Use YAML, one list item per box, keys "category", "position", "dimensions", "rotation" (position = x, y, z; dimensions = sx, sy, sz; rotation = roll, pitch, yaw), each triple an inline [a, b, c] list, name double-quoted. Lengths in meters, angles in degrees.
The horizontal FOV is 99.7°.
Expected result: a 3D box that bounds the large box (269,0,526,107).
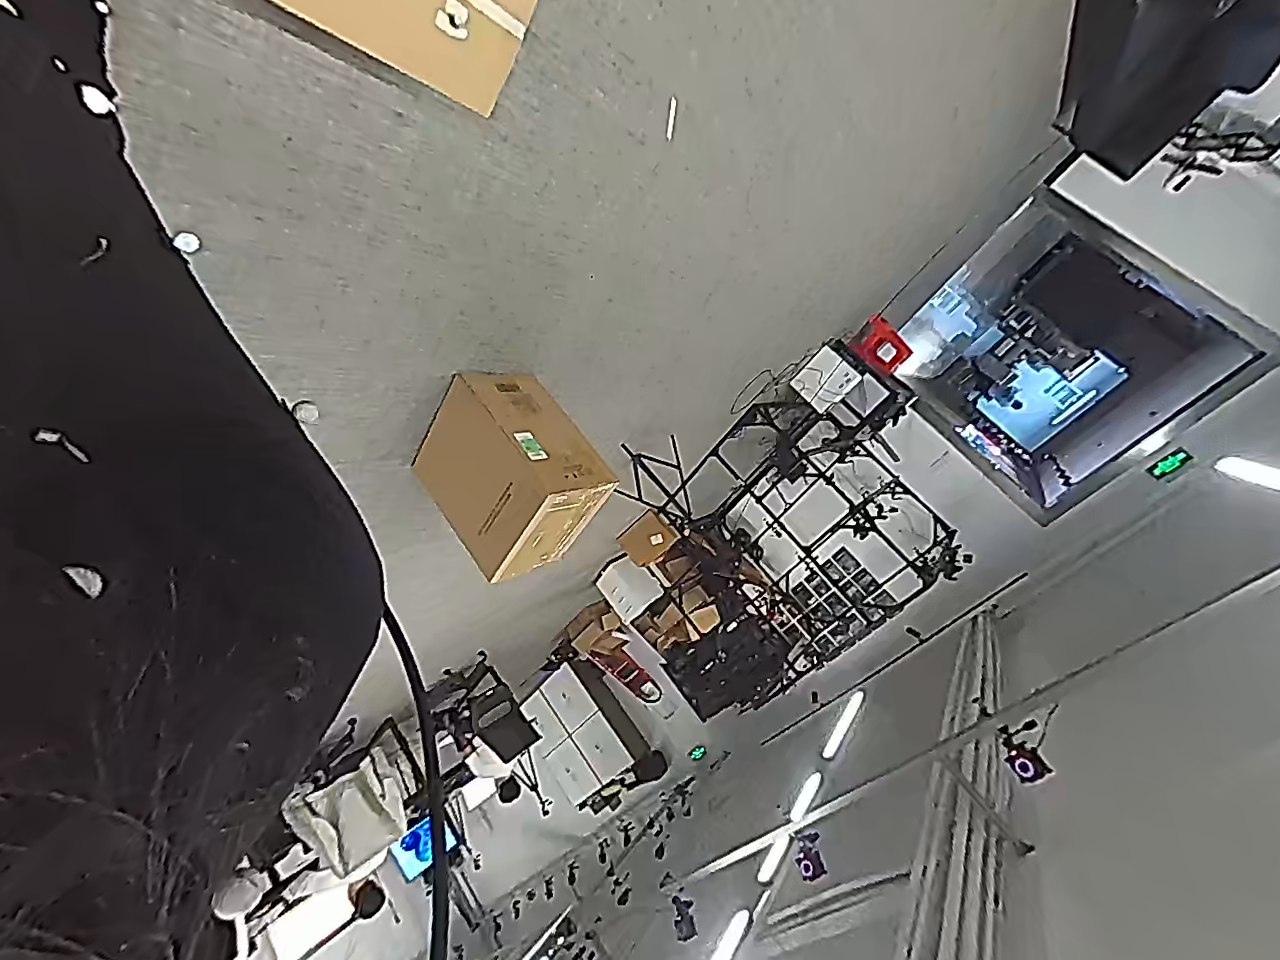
- category: "large box"
  position: [-0.431, -0.901, 0.857]
  dimensions: [0.320, 0.320, 0.408]
  rotation: [-50, 162, 29]
